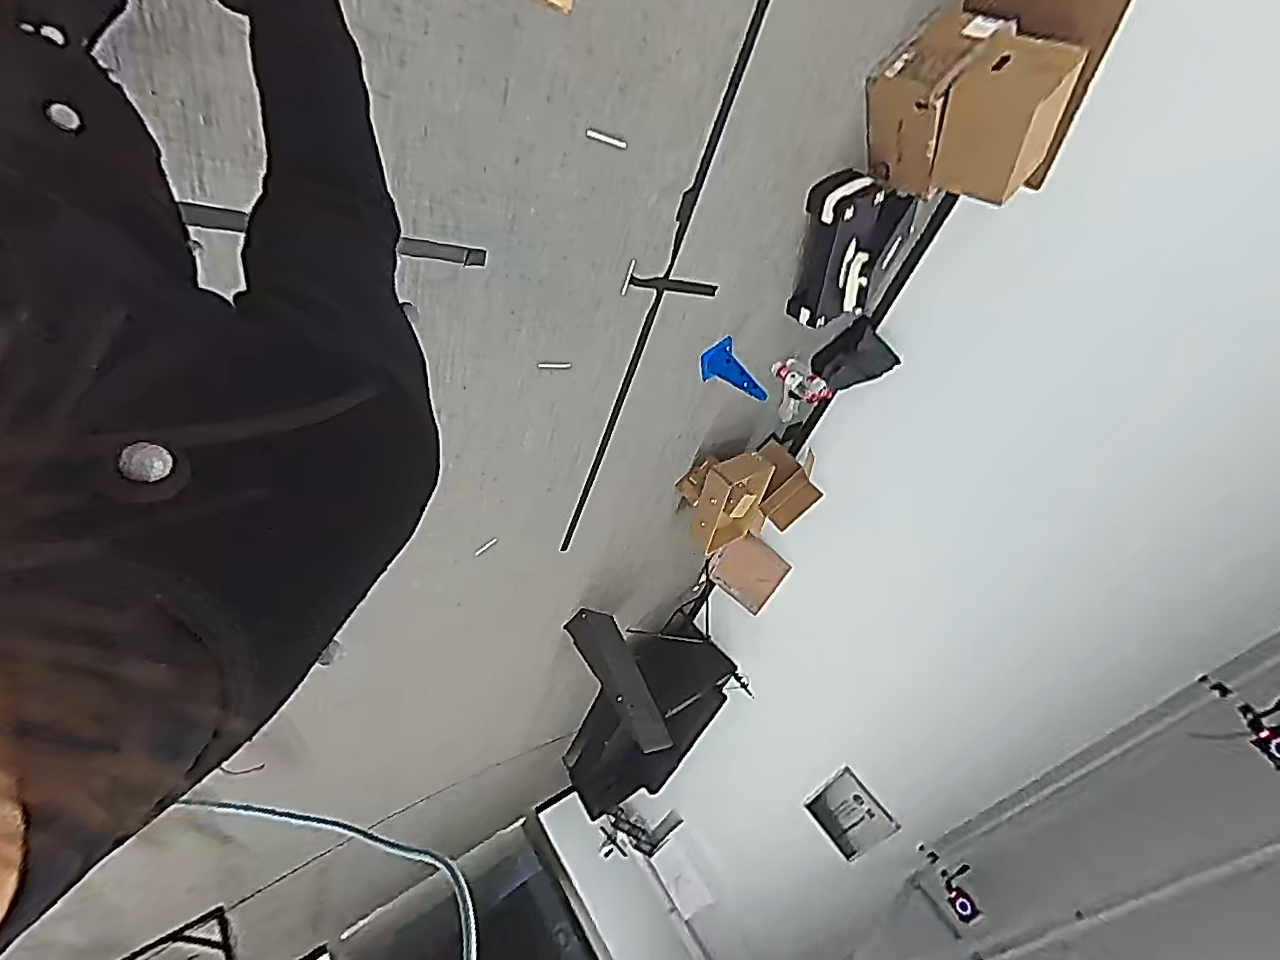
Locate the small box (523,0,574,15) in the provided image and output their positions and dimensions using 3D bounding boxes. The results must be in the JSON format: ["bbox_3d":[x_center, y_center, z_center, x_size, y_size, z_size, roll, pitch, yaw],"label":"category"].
[{"bbox_3d":[-0.149,-0.627,0.545,0.168,0.176,0.179,-6,133,-44],"label":"small box"}]
